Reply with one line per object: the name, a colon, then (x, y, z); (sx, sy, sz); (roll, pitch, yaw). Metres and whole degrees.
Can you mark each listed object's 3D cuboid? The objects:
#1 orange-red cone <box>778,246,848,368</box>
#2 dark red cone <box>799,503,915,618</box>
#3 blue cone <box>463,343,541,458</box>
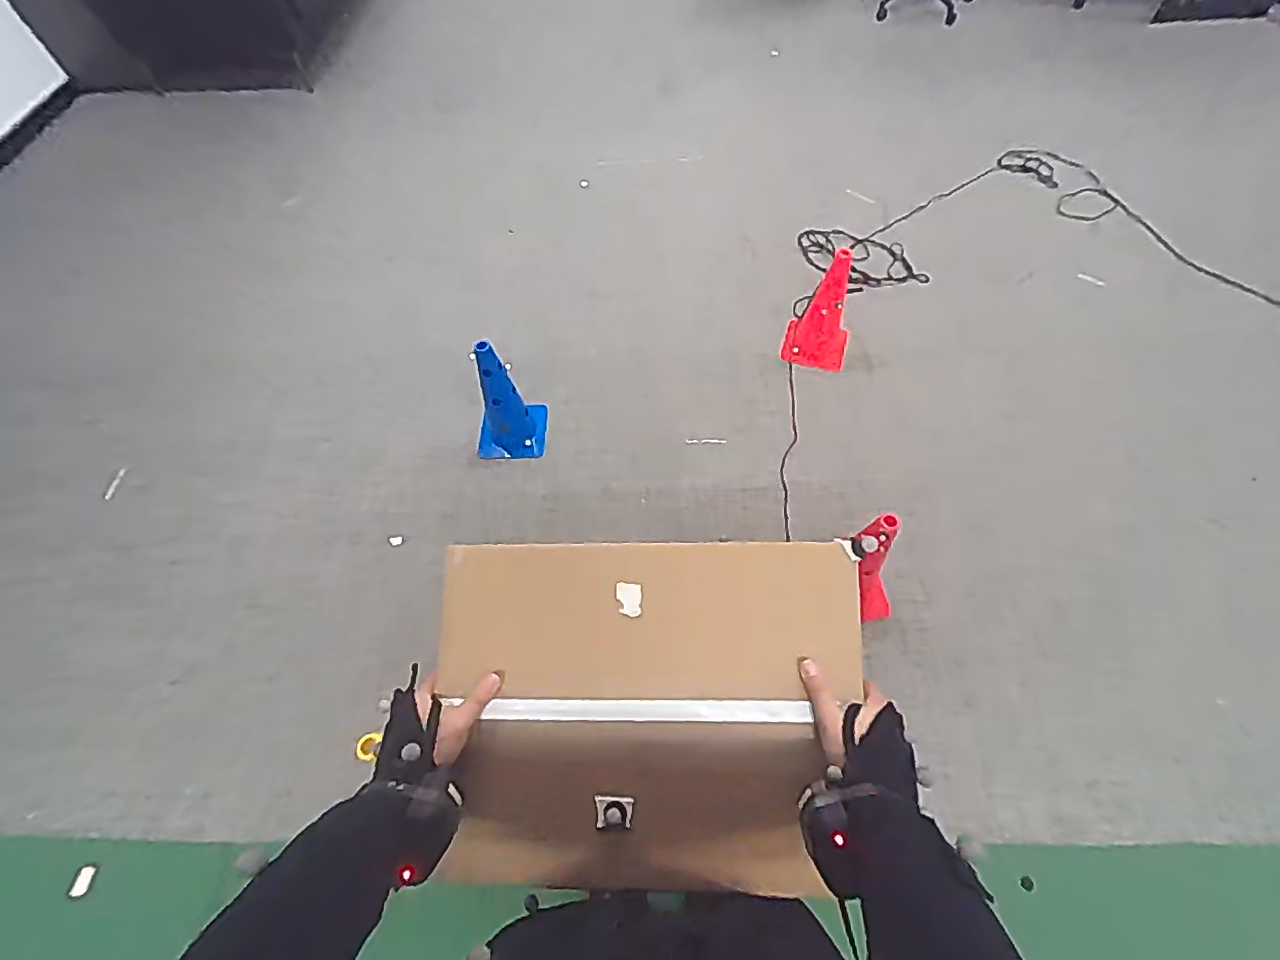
orange-red cone: (0.565, -0.545, 1.639); (0.199, 0.360, 0.198); (17, 61, 11)
dark red cone: (0.499, 0.152, 1.182); (0.202, 0.394, 0.201); (-7, 61, -2)
blue cone: (-0.407, -0.234, 1.512); (0.192, 0.380, 0.193); (-1, 58, 3)
